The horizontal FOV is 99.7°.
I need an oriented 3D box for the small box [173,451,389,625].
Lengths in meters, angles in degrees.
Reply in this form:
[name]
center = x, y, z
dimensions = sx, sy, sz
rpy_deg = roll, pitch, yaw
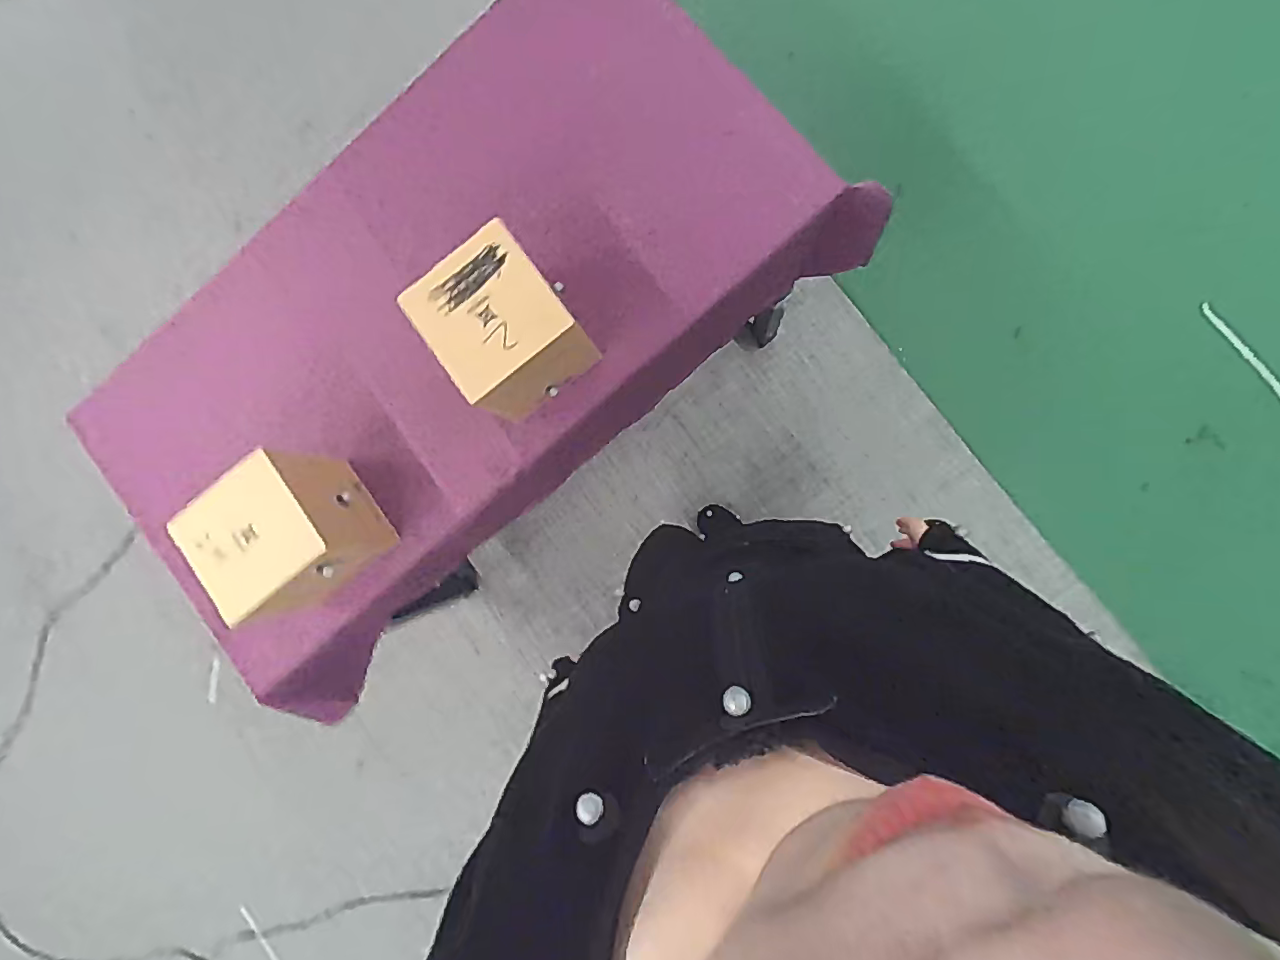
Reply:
[small box]
center = -0.501, 0.078, 0.787
dimensions = 0.179, 0.176, 0.168
rpy_deg = -38, 82, 5
